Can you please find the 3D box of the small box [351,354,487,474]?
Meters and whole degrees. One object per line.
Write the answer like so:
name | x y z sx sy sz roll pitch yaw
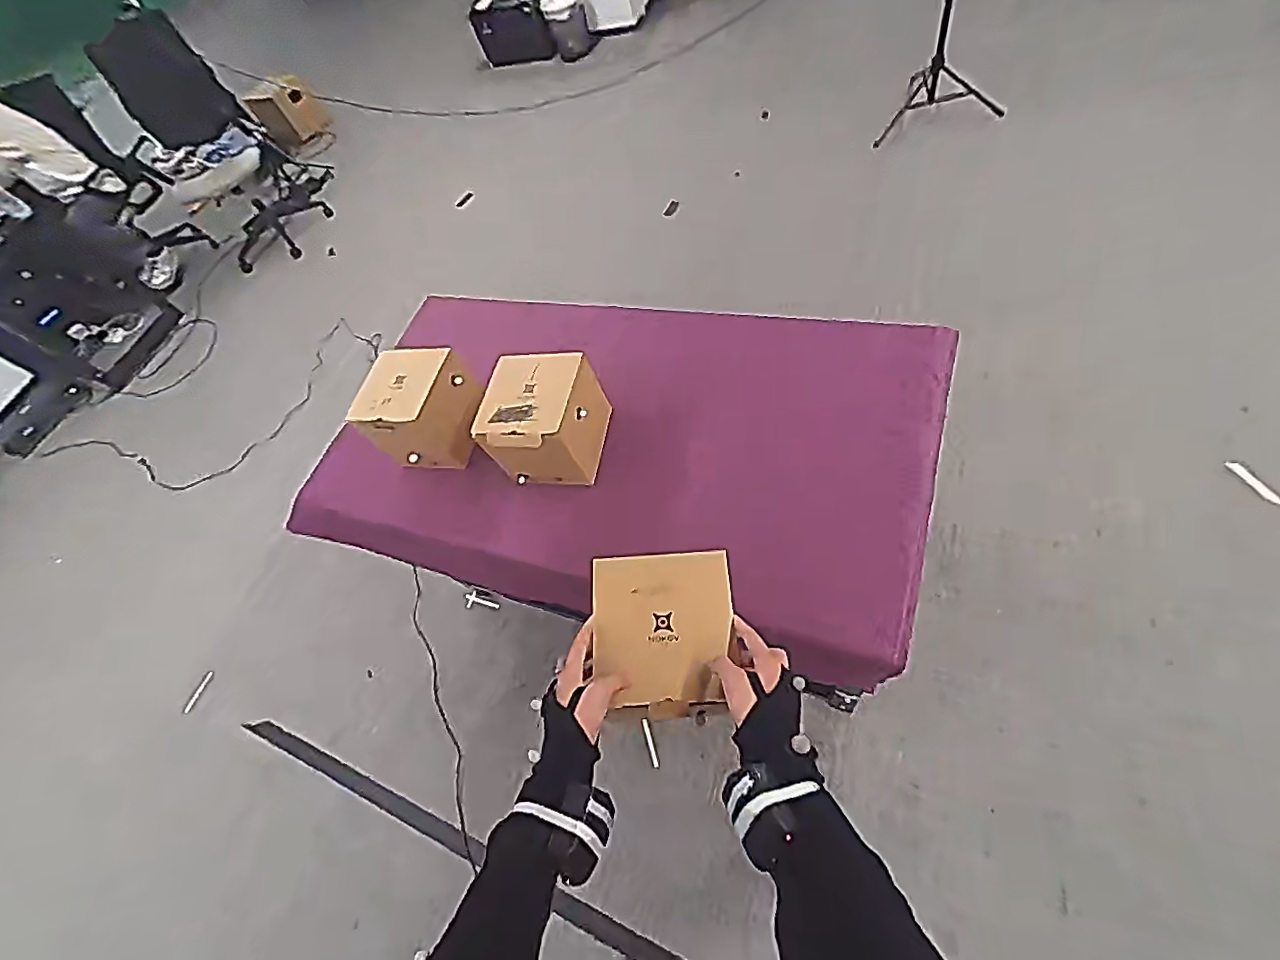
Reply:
small box | -0.428 -0.133 1.089 0.168 0.176 0.179 3 62 19

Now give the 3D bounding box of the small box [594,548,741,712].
small box | 0.035 0.202 0.700 0.168 0.176 0.179 -3 61 2

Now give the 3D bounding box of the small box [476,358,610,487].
small box | -0.165 -0.099 0.988 0.168 0.176 0.179 2 61 18
